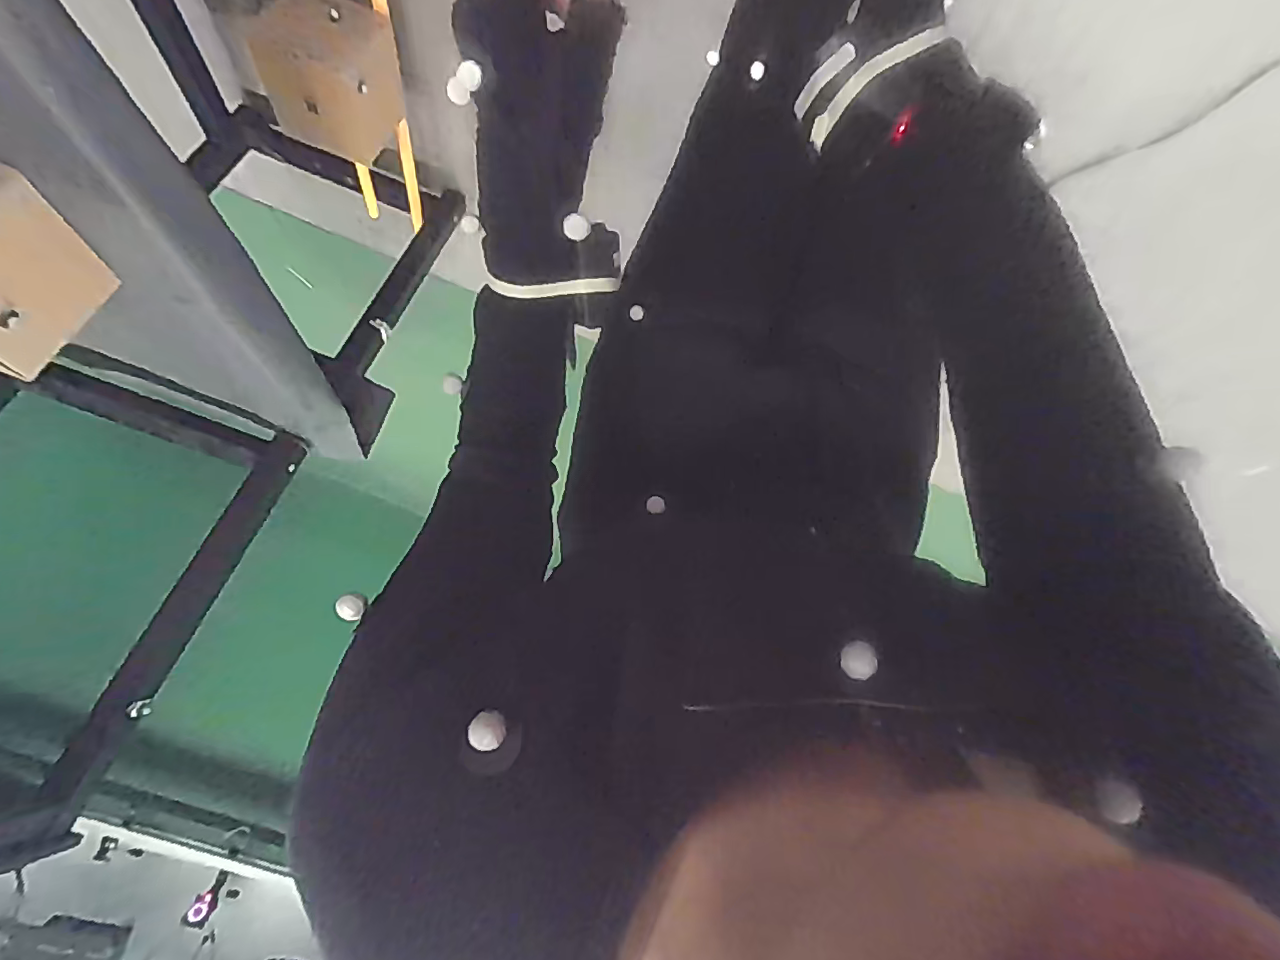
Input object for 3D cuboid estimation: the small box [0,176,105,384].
[{"bbox_3d":[-0.749,-0.239,0.575,0.168,0.176,0.179,22,156,-8],"label":"small box"}]
